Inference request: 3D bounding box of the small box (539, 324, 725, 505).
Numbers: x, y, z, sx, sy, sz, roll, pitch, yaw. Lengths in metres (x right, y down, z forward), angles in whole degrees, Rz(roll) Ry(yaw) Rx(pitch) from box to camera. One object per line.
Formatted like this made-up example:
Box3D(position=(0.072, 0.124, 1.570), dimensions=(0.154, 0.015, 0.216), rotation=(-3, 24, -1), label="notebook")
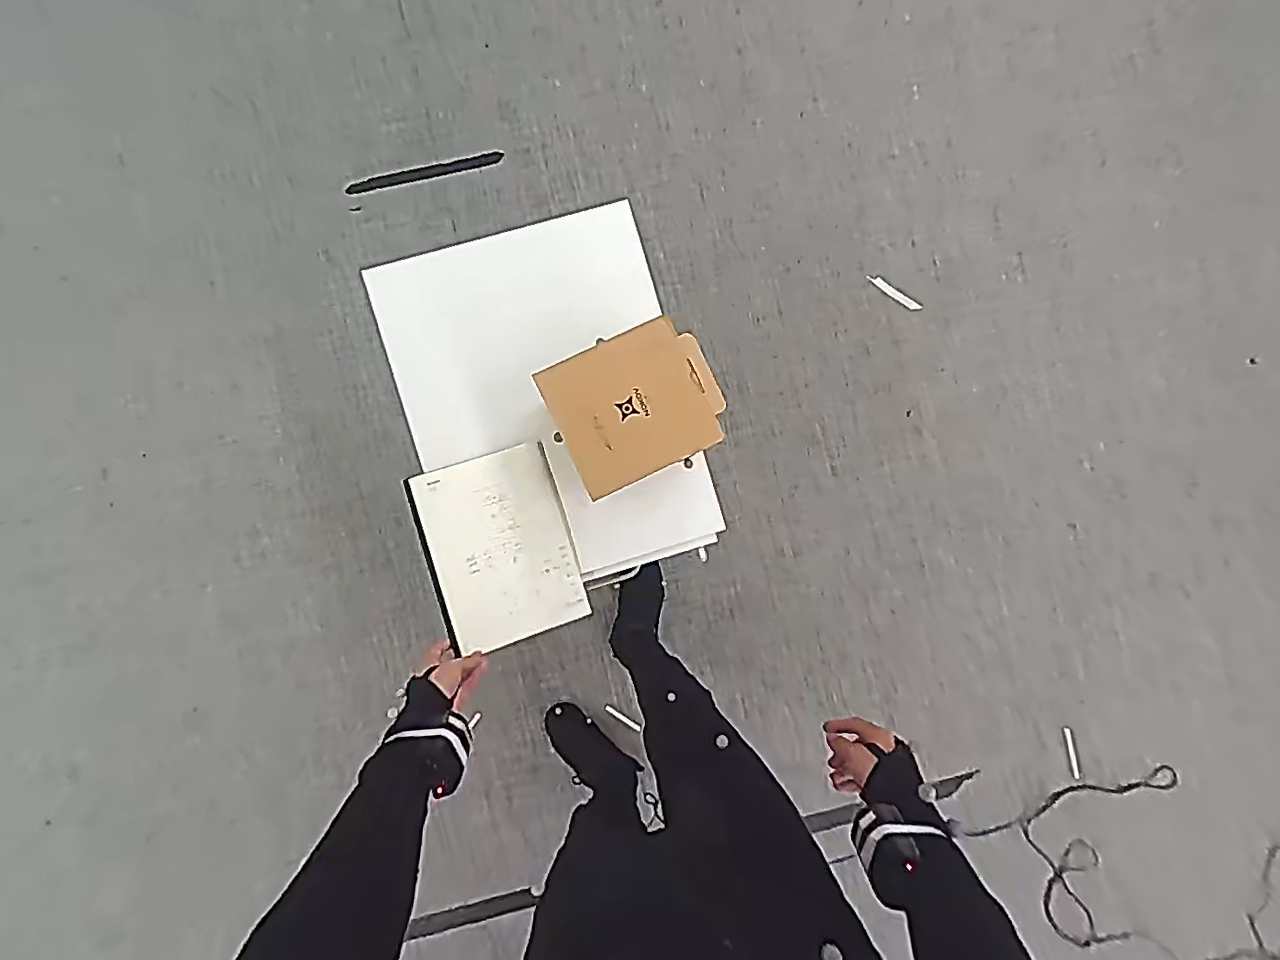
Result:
Box3D(position=(-0.014, -0.079, 0.713), dimensions=(0.179, 0.176, 0.168), rotation=(-25, 91, -3), label="small box")
